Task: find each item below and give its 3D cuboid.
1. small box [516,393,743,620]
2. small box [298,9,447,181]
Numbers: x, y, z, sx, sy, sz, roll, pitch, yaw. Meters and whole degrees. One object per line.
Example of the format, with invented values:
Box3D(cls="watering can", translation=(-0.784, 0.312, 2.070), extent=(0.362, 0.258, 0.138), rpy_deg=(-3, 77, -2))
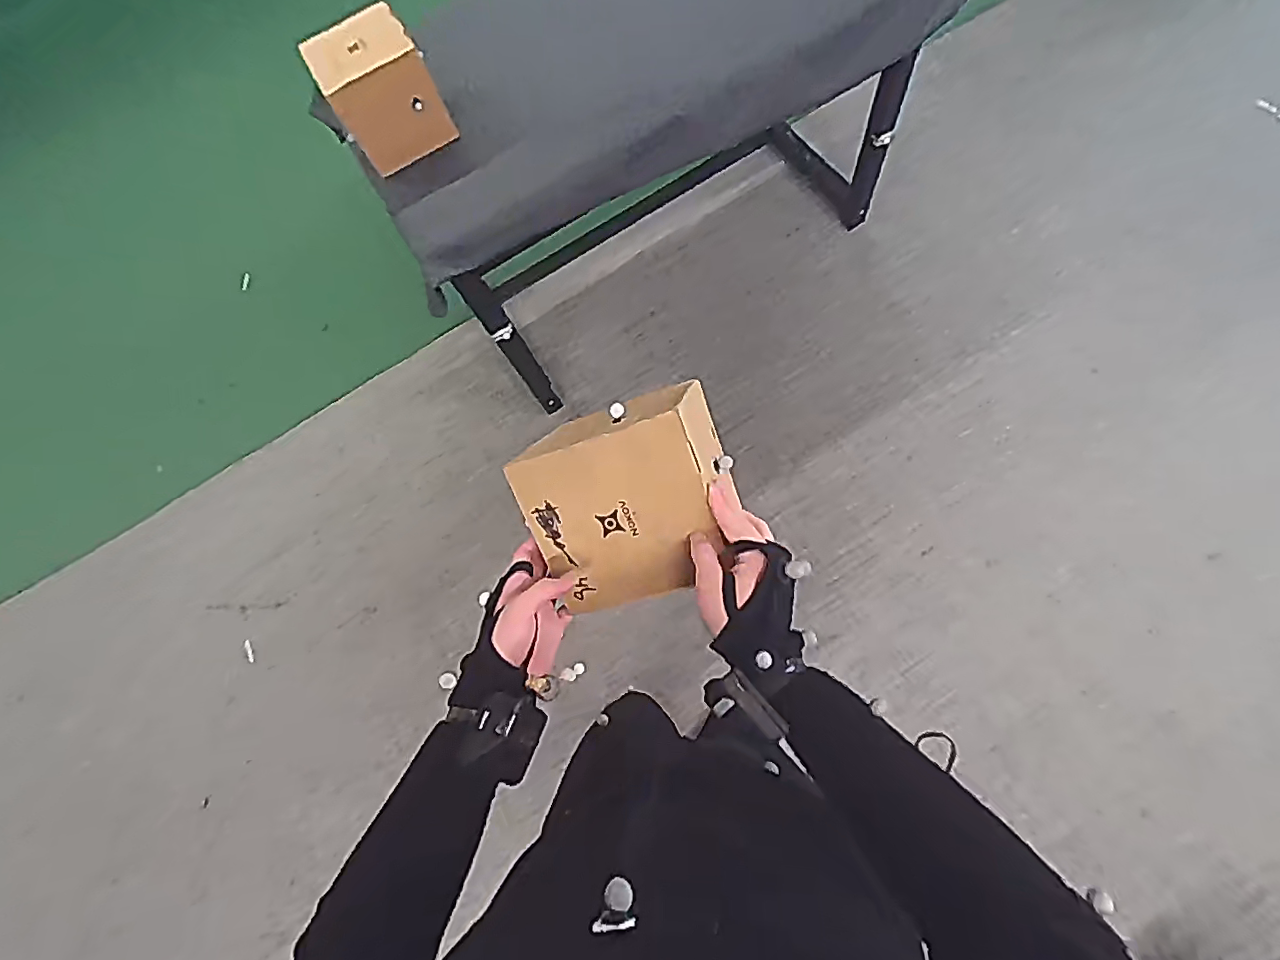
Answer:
Box3D(cls="small box", translation=(0.002, 0.019, 0.576), extent=(0.179, 0.176, 0.168), rpy_deg=(-16, 105, 15))
Box3D(cls="small box", translation=(-0.483, -0.706, 1.004), extent=(0.179, 0.176, 0.168), rpy_deg=(-29, 68, -2))
